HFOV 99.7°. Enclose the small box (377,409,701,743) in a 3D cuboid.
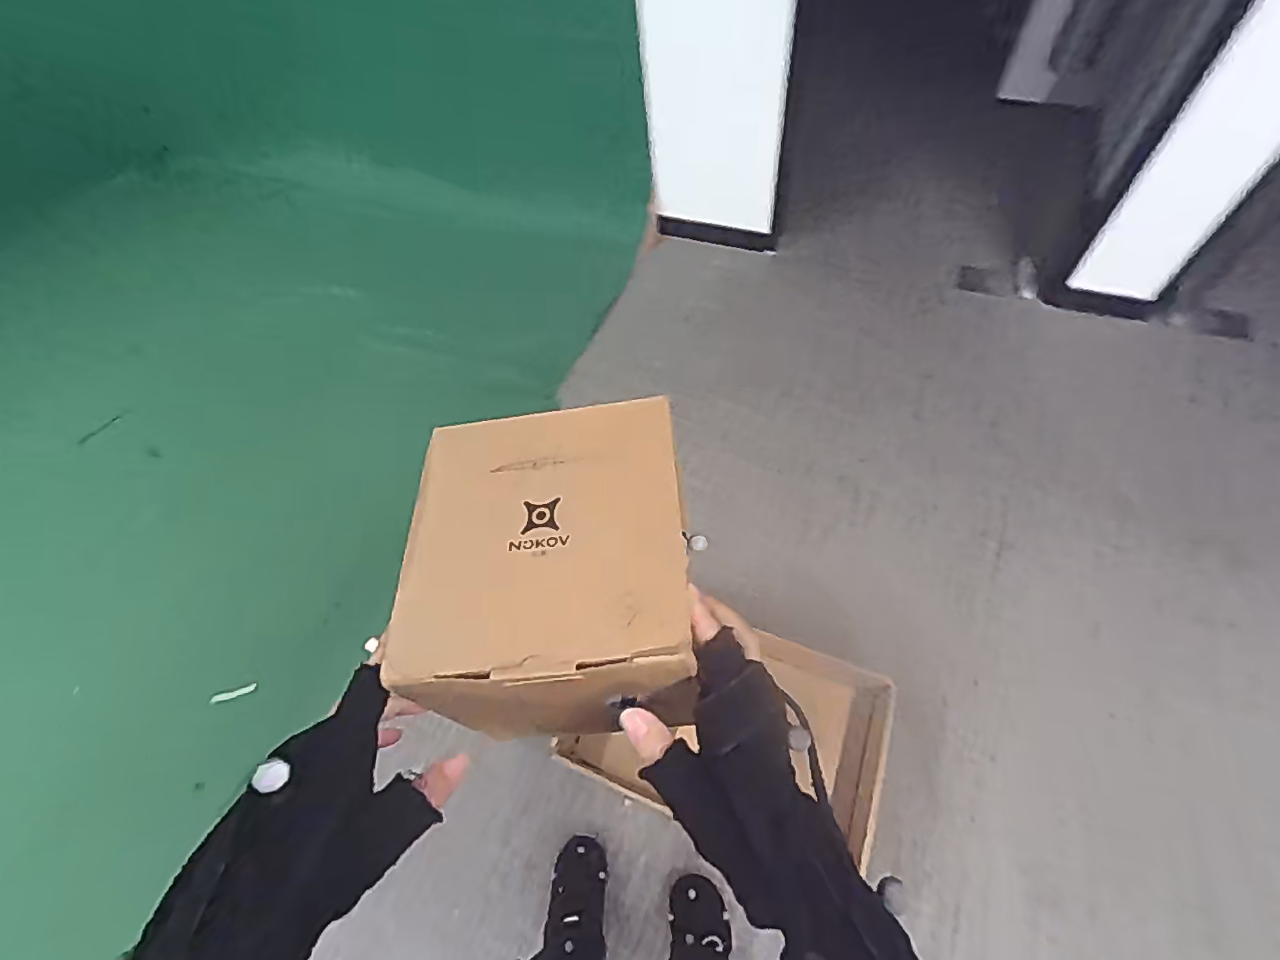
[{"bbox_3d":[-0.052,0.080,0.388,0.168,0.176,0.179,-9,54,4],"label":"small box"}]
